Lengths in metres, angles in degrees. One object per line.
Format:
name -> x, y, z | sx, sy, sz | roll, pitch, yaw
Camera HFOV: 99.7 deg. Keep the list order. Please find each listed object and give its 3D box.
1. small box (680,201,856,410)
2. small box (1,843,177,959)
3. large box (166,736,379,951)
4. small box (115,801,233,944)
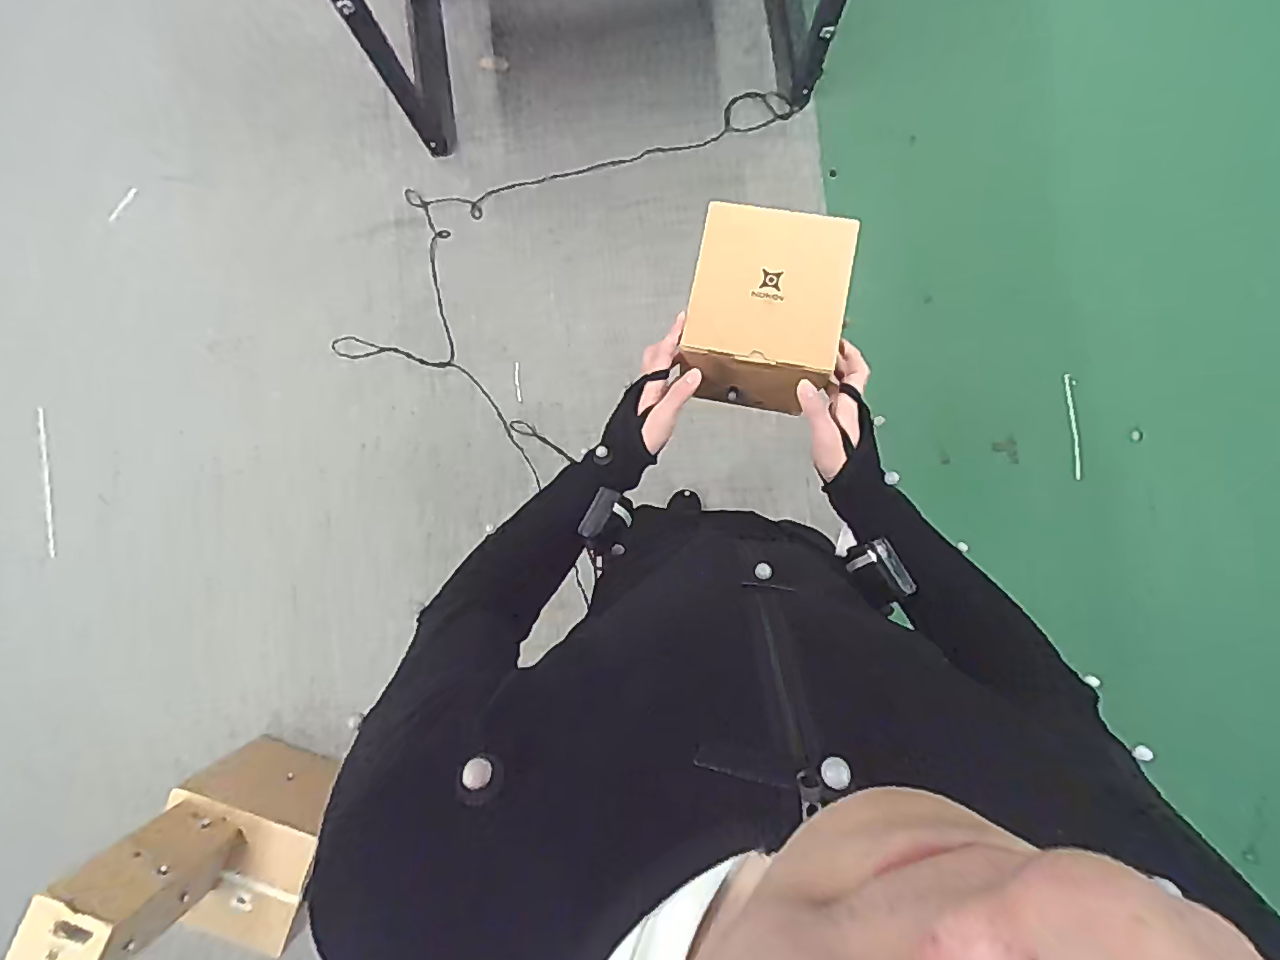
small box -> 0.142, -0.200, 0.659 | 0.168, 0.176, 0.179 | 11, 84, 6
small box -> -1.099, 0.888, 1.091 | 0.168, 0.176, 0.179 | 25, 88, 1
large box -> -1.026, 0.972, 1.495 | 0.408, 0.320, 0.320 | 18, 89, 1
small box -> -1.103, 0.899, 1.254 | 0.168, 0.176, 0.179 | 24, 87, 1
